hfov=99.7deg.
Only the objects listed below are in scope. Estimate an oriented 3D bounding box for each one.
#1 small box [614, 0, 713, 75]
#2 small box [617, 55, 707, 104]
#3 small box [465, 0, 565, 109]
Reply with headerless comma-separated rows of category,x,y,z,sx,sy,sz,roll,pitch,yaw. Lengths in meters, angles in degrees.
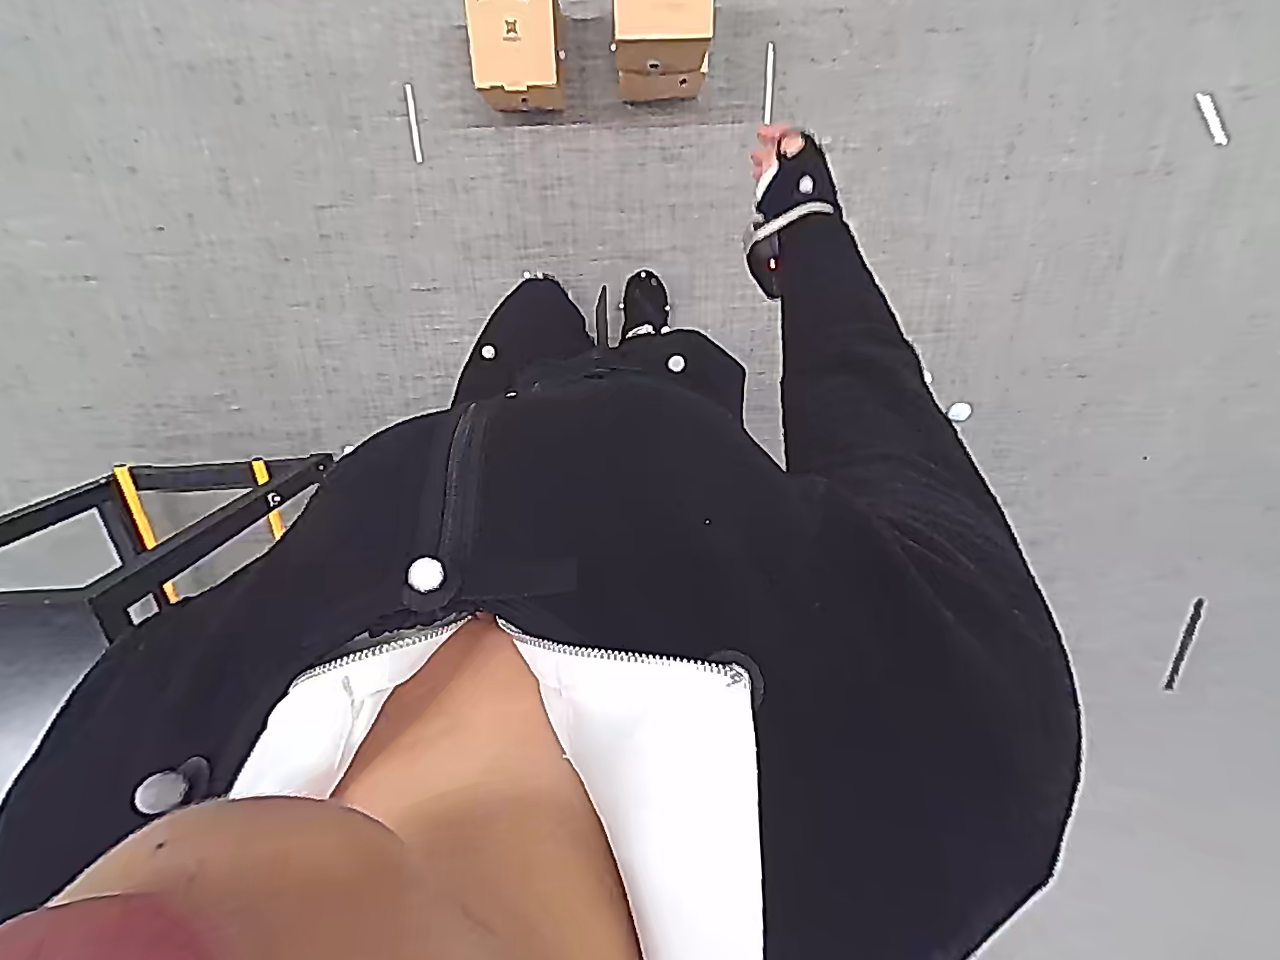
small box,0.037,-0.846,0.954,0.168,0.176,0.179,-1,113,0
small box,0.040,-0.894,1.110,0.179,0.176,0.168,-3,111,0
small box,-0.248,-0.882,1.111,0.168,0.176,0.179,0,112,0
